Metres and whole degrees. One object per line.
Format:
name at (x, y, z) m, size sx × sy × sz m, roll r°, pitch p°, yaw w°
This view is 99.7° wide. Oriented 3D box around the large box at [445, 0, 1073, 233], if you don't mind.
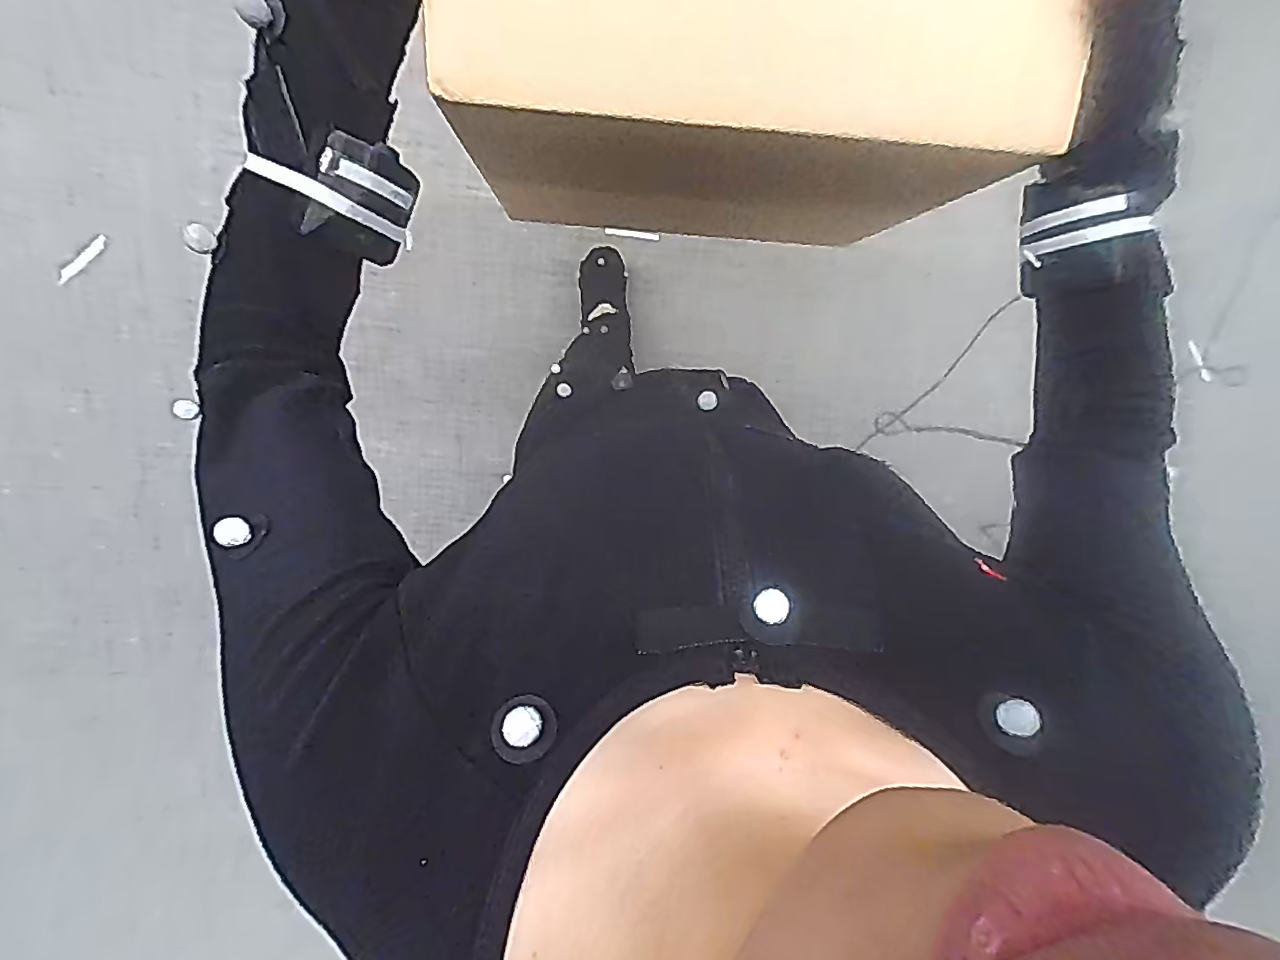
large box at (0.069, -0.414, 0.459) m, size 0.408 × 0.320 × 0.320 m, roll 1°, pitch 103°, yaw -6°
